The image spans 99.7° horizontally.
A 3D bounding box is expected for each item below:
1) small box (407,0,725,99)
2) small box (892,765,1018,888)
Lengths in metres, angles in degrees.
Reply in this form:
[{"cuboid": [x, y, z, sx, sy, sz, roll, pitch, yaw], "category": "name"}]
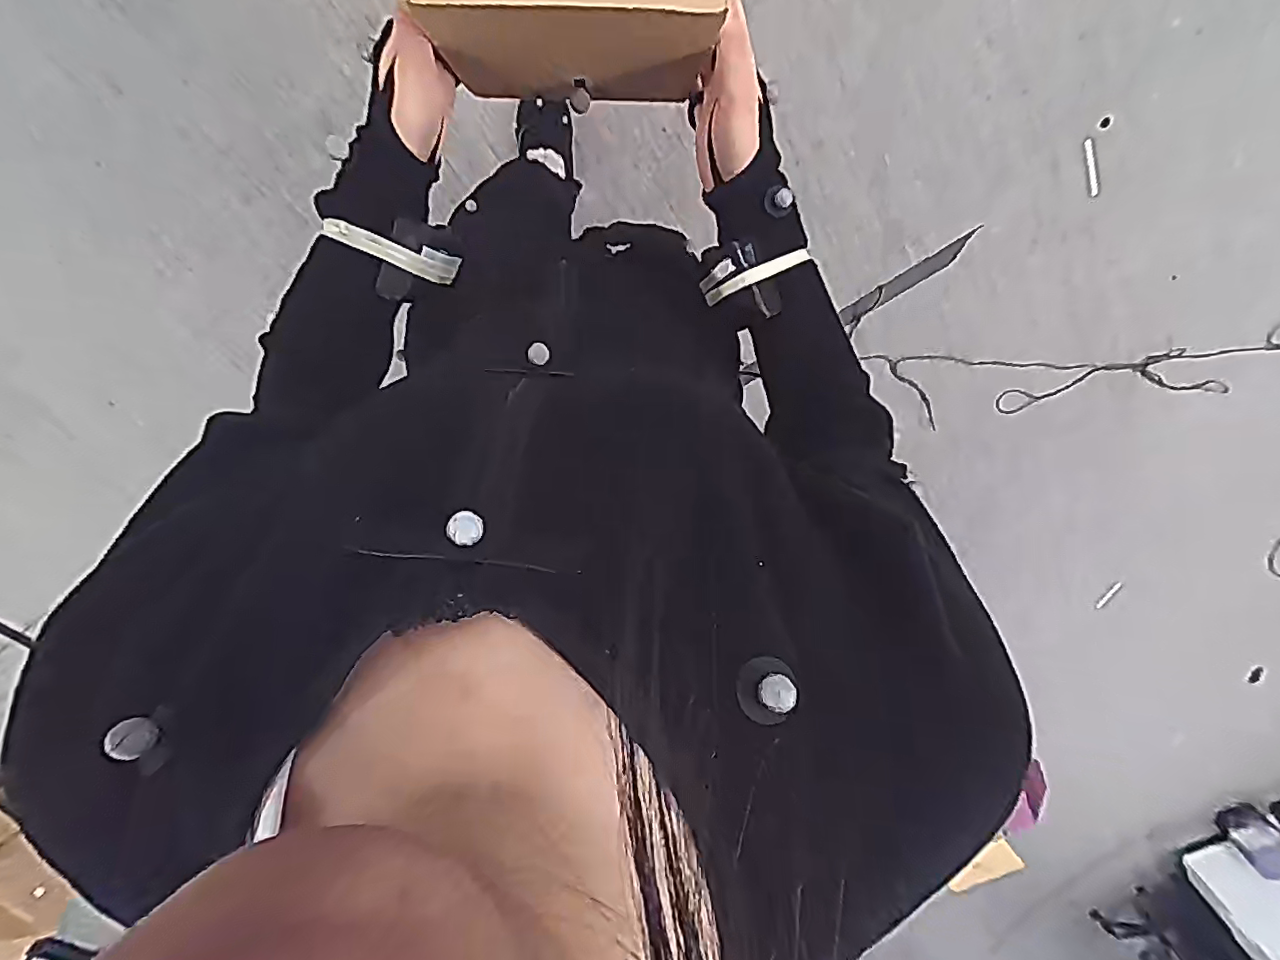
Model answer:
[{"cuboid": [-0.045, -0.357, 0.332, 0.179, 0.176, 0.168, 0, 110, -5], "category": "small box"}, {"cuboid": [0.720, 0.795, 1.252, 0.168, 0.176, 0.179, -34, 119, 14], "category": "small box"}]
